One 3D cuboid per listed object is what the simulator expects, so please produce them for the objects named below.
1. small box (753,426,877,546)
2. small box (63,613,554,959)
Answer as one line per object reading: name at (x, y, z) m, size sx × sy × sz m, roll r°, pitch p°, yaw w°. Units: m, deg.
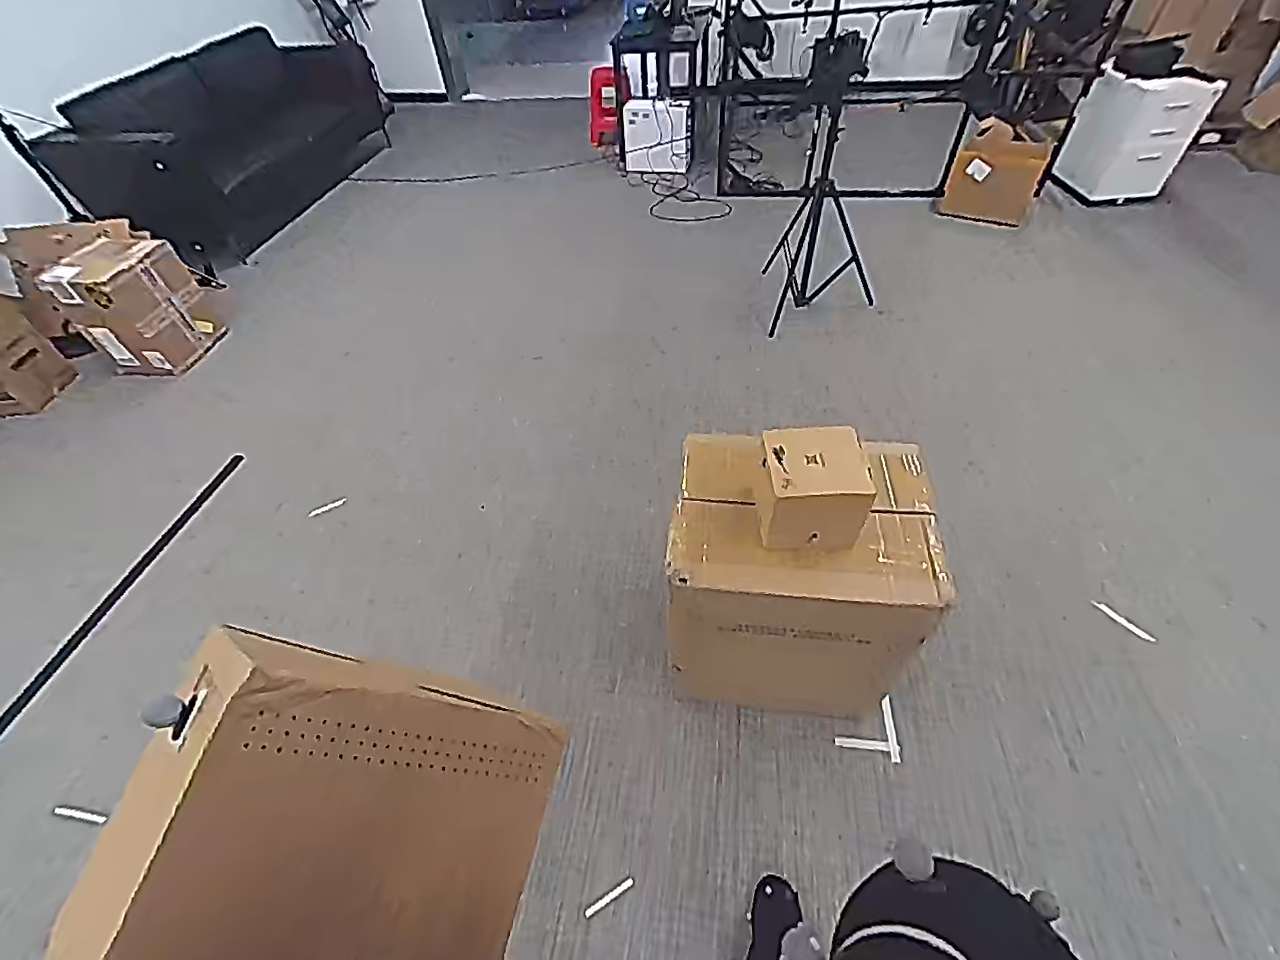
small box at (0.322, 0.014, 1.032) m, size 0.179 × 0.176 × 0.168 m, roll -2°, pitch 49°, yaw 3°
small box at (-0.176, 0.186, 0.313) m, size 0.168 × 0.179 × 0.176 m, roll -11°, pitch 58°, yaw 48°
